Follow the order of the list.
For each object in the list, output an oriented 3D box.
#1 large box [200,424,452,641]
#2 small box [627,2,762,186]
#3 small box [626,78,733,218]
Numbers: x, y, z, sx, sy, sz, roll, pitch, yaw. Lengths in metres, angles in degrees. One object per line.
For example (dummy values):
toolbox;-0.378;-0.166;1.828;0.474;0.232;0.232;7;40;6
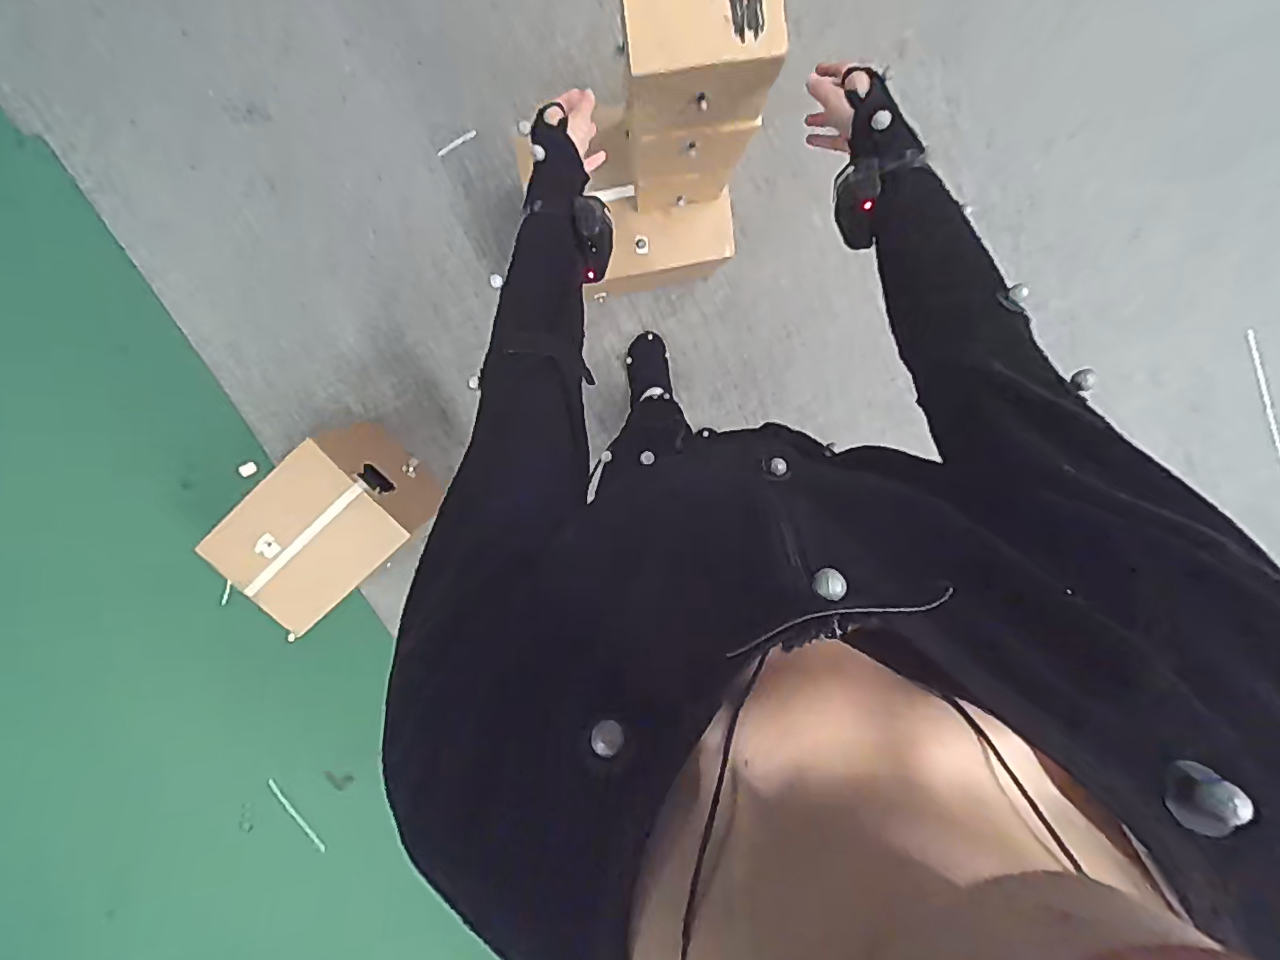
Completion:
large box;-0.767;0.114;1.380;0.408;0.320;0.320;-40;99;9
small box;0.075;-0.566;0.816;0.179;0.176;0.168;-7;101;2
small box;0.065;-0.598;0.975;0.168;0.176;0.179;-8;102;2
